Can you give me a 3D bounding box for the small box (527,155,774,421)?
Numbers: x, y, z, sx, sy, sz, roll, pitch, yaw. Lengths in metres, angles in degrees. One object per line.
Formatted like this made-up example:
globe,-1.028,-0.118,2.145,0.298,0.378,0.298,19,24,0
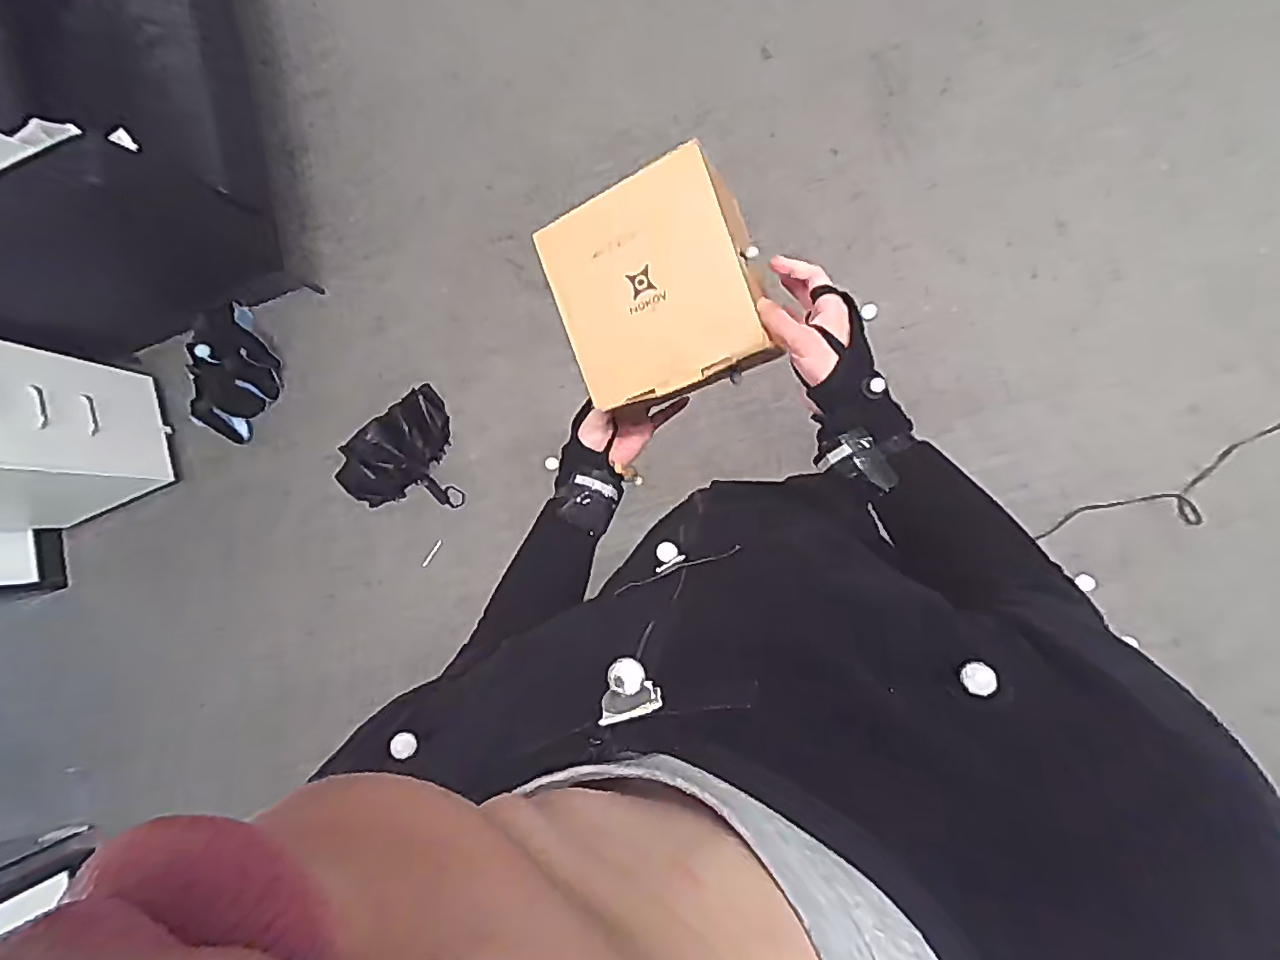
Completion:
small box,0.023,-0.171,0.538,0.168,0.176,0.179,-18,92,23
